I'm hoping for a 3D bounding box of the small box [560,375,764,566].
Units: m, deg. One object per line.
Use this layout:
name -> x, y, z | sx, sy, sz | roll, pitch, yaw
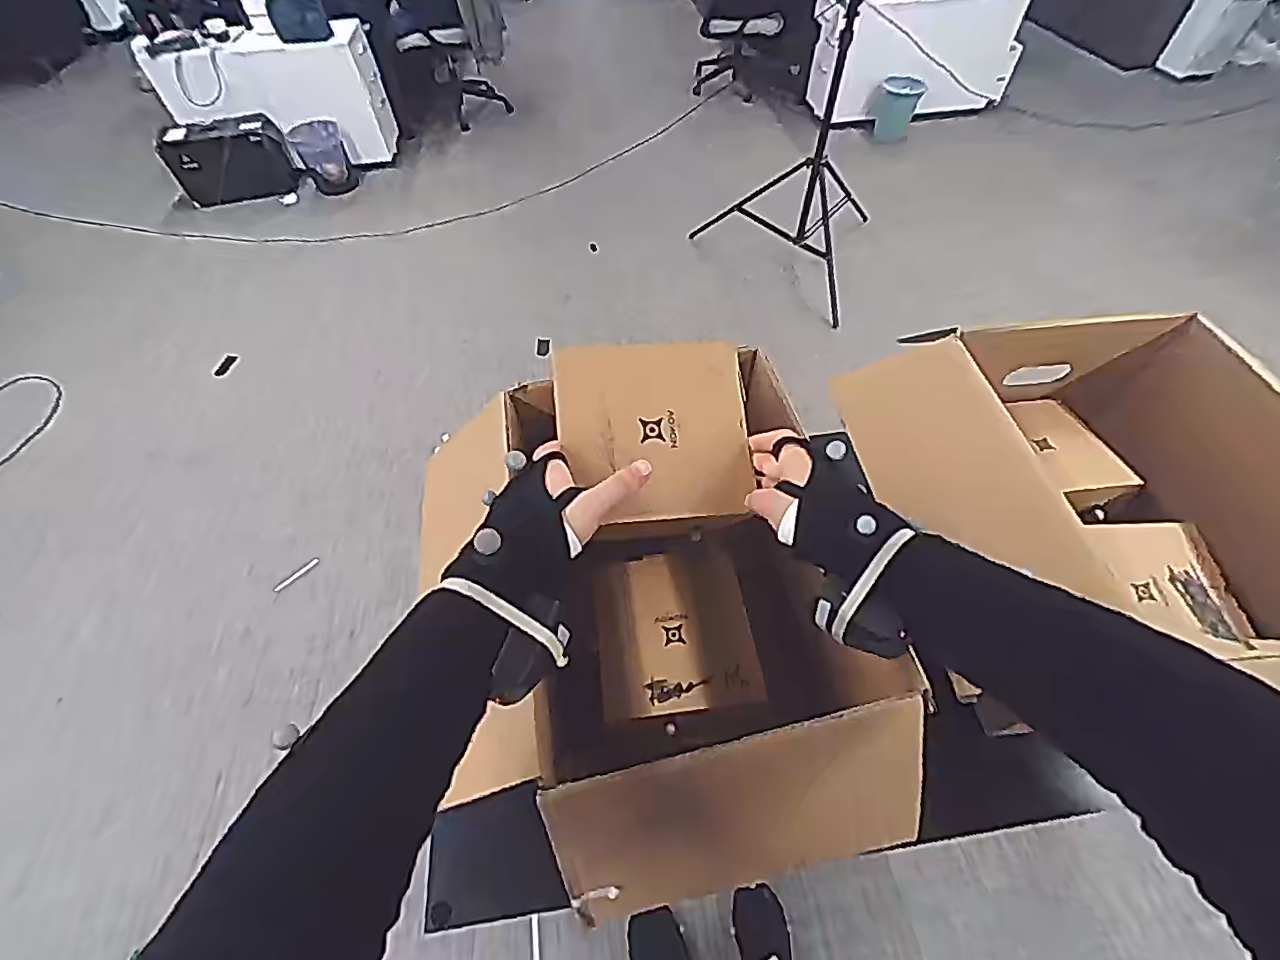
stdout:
small box -> 0.009, -0.001, 0.564 | 0.179, 0.176, 0.168 | -4, 79, -9
